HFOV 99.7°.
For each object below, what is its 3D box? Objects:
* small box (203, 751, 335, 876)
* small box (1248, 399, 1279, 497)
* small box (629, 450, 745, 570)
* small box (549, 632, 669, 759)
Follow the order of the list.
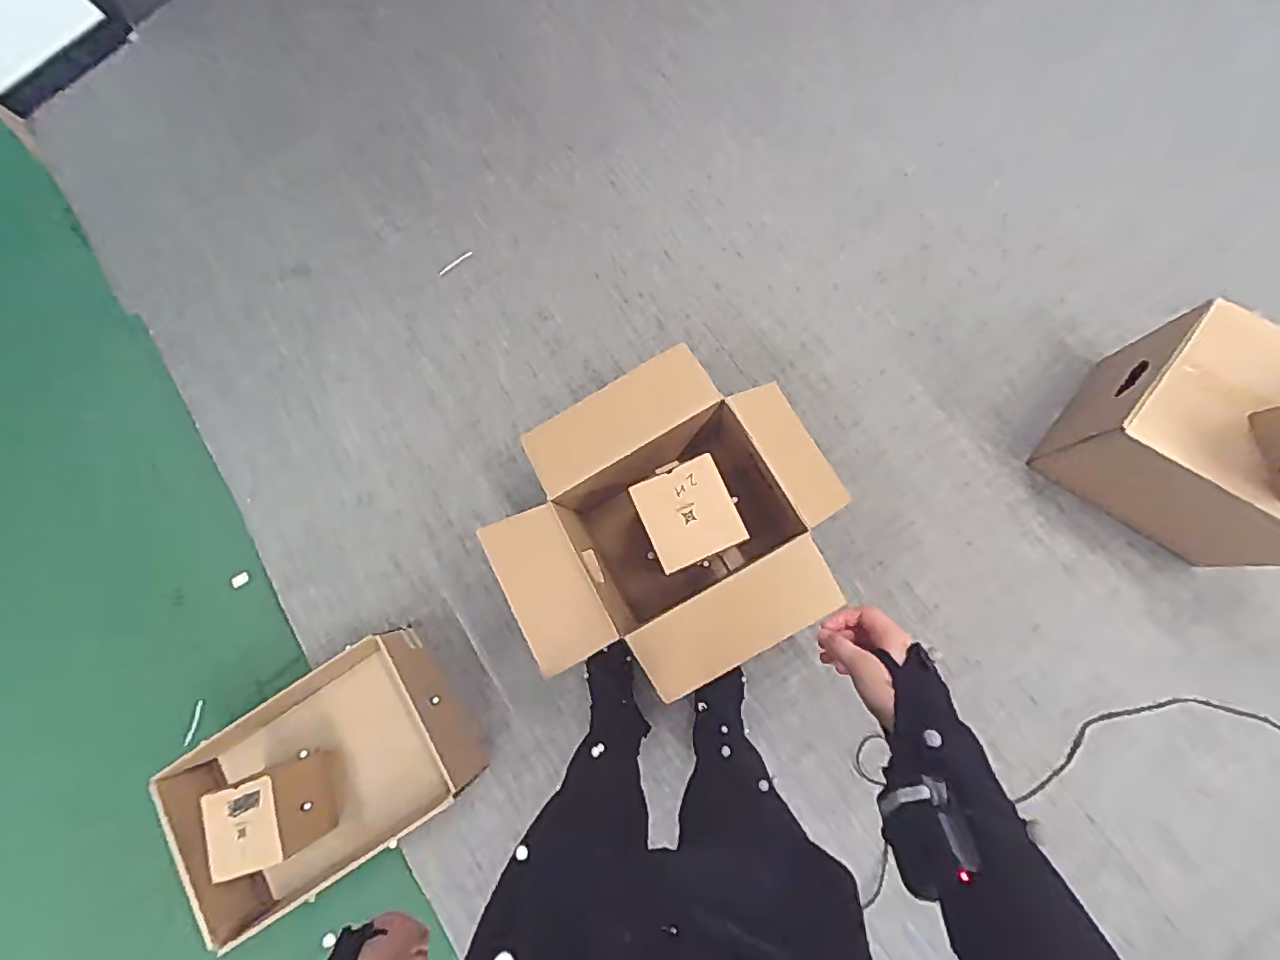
[{"bbox_3d":[-0.817,0.726,1.203,0.168,0.176,0.179,-18,78,3],"label":"small box"},{"bbox_3d":[1.124,-0.072,0.839,0.179,0.176,0.168,-14,80,7],"label":"small box"},{"bbox_3d":[0.091,0.065,1.066,0.168,0.176,0.179,-24,79,-1],"label":"small box"},{"bbox_3d":[-0.060,0.466,1.187,0.176,0.168,0.179,49,63,-15],"label":"small box"}]
